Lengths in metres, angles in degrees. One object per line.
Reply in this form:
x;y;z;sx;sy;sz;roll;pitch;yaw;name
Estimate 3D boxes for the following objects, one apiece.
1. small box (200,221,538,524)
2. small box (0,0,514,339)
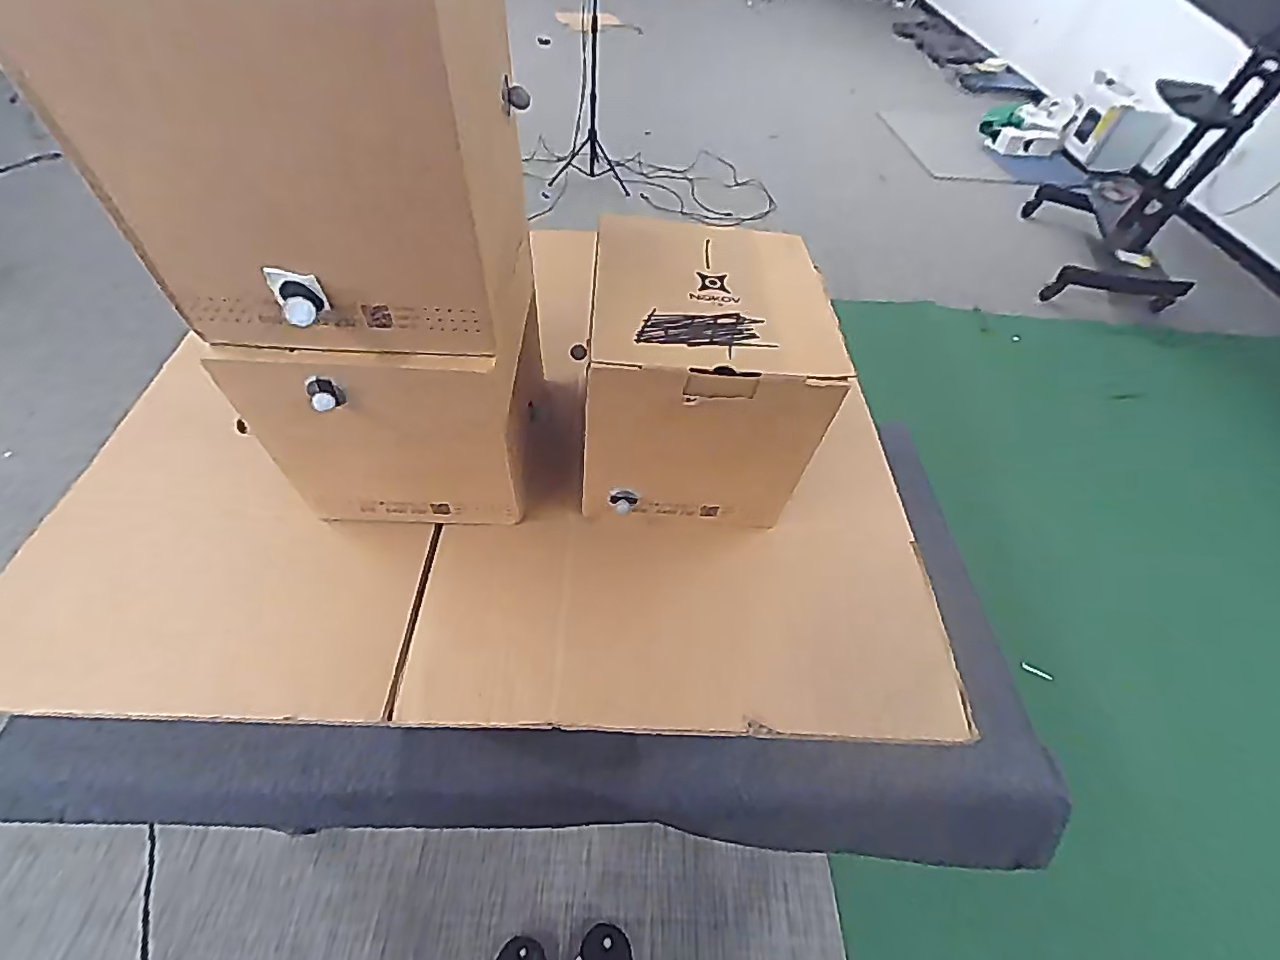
-0.176;-0.086;0.425;0.168;0.176;0.179;2;52;-2;small box
-0.164;-0.199;0.288;0.168;0.176;0.179;0;55;-5;small box
